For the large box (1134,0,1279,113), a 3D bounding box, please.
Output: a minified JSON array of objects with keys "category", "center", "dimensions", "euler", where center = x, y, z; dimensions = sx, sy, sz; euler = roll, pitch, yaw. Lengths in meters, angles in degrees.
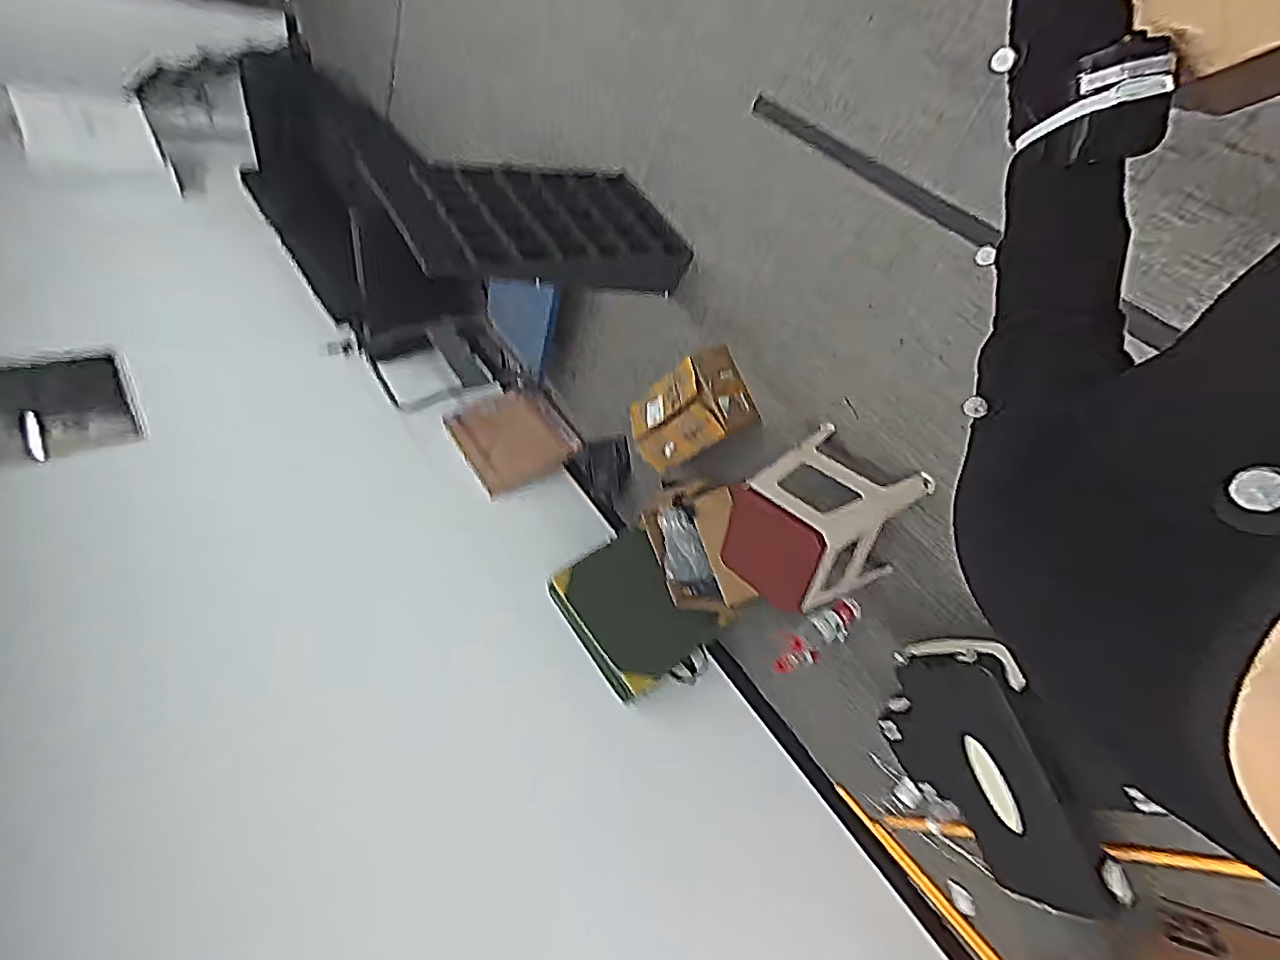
[{"category":"large box","center":[0.530,-0.451,0.260],"dimensions":[0.408,0.320,0.320],"euler":[2,112,54]}]
